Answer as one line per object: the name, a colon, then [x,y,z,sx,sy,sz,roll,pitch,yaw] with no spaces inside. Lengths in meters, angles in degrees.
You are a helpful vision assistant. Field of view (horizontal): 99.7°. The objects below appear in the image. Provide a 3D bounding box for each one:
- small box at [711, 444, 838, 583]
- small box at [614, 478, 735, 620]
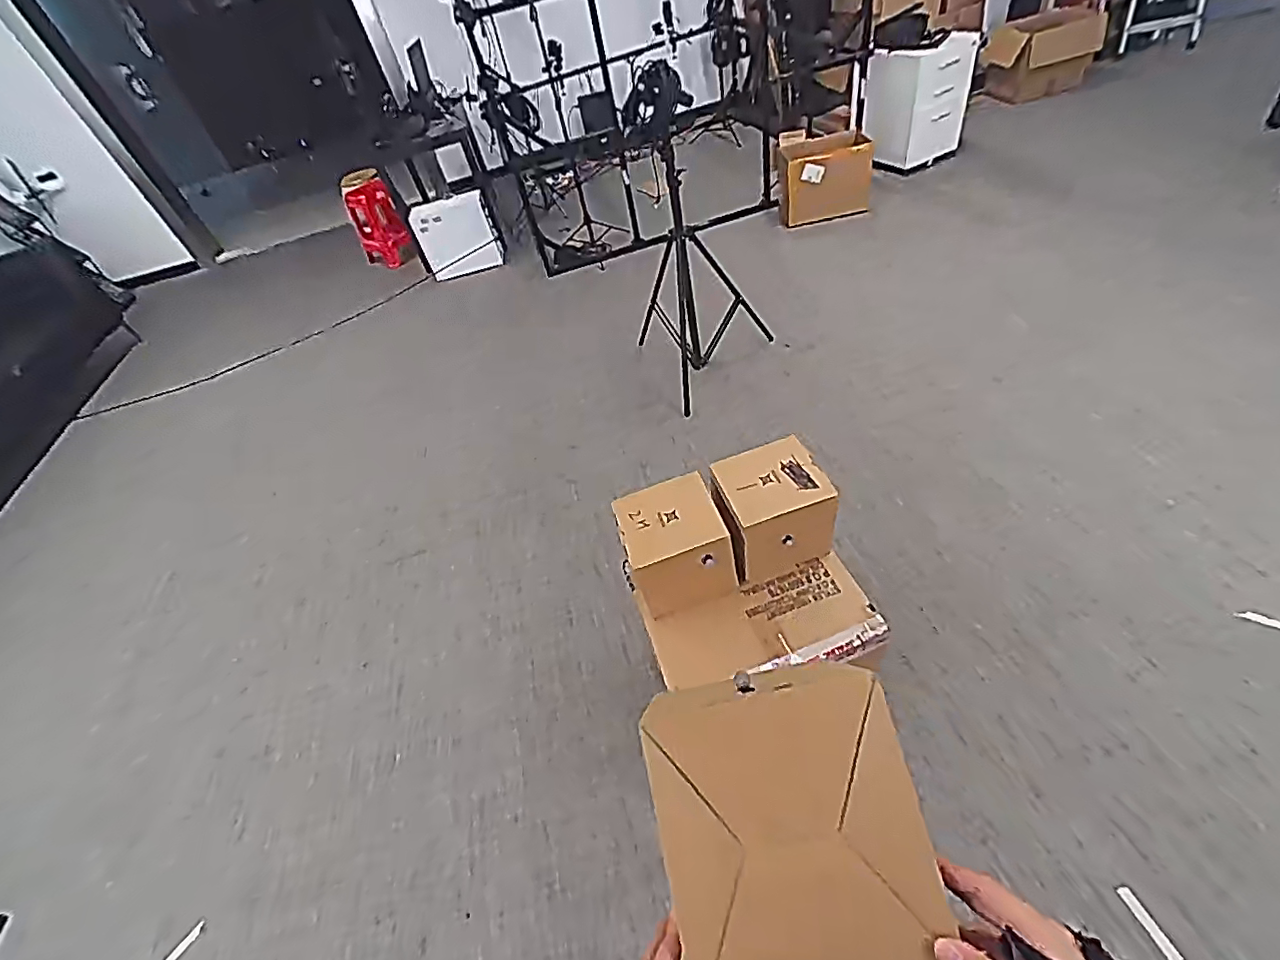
small box: [0.247,0.065,1.020,0.179,0.176,0.168,-19,46,-4]
small box: [0.068,0.130,1.006,0.179,0.176,0.168,-20,45,-1]
